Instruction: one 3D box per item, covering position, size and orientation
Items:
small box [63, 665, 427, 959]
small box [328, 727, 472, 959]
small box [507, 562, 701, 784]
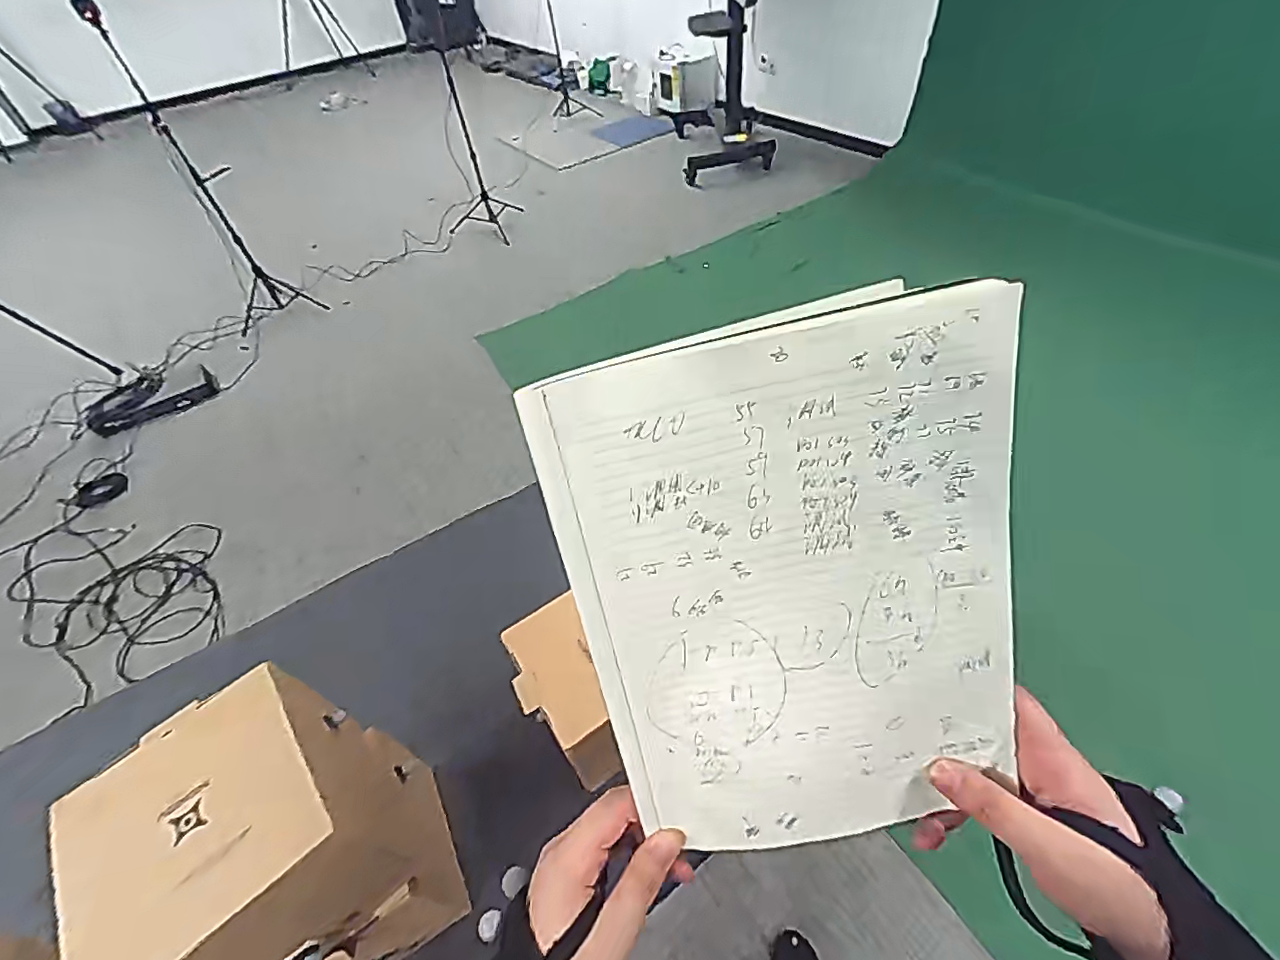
[{"bbox_3d":[-0.316,0.301,0.457,0.168,0.176,0.179,-37,54,-22],"label":"small box"},{"bbox_3d":[-0.303,0.409,0.577,0.168,0.176,0.179,-28,50,-15],"label":"small box"},{"bbox_3d":[-0.039,0.244,0.687,0.179,0.176,0.168,-31,51,-18],"label":"small box"}]
